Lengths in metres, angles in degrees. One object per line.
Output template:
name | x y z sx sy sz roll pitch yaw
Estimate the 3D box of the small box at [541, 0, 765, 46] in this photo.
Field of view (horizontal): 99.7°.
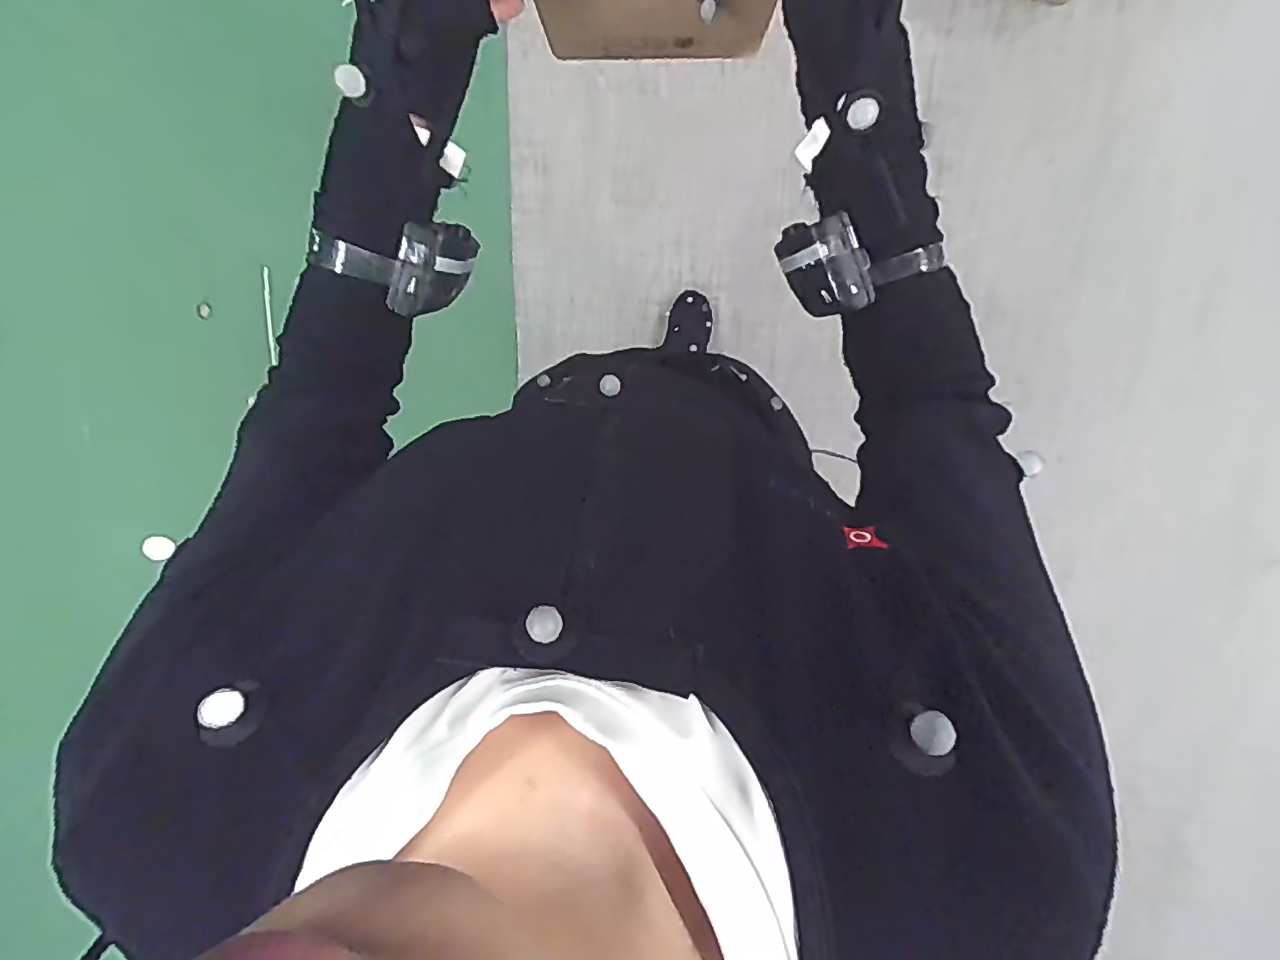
small box | 0.009 -0.408 0.335 0.168 0.176 0.179 0 103 1
